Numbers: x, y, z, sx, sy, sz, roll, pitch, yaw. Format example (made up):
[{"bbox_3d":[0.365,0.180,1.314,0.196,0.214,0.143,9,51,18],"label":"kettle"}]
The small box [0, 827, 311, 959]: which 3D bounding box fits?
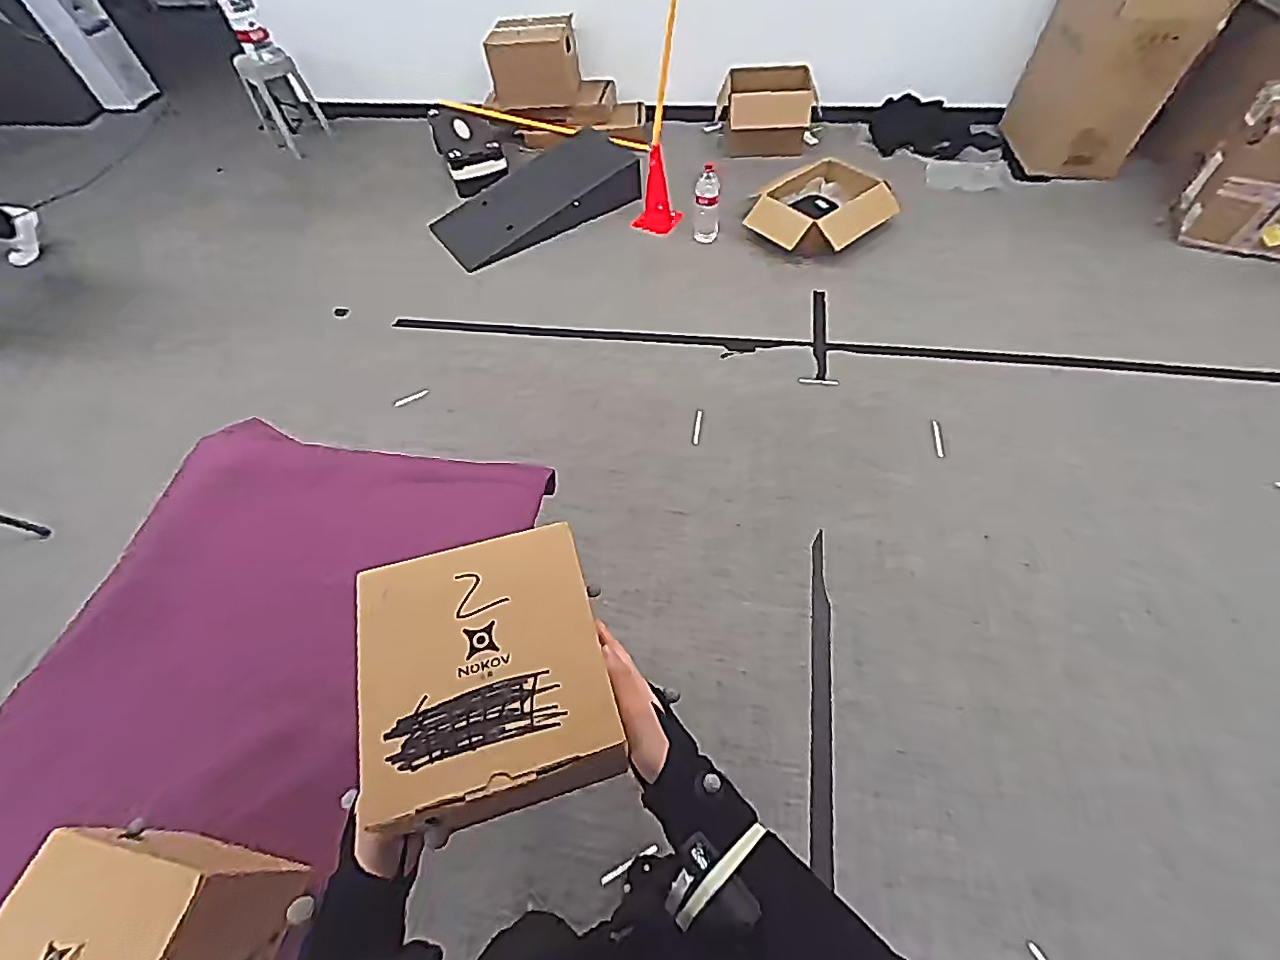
[{"bbox_3d":[-0.473,0.453,0.520,0.179,0.176,0.168,7,57,10],"label":"small box"}]
